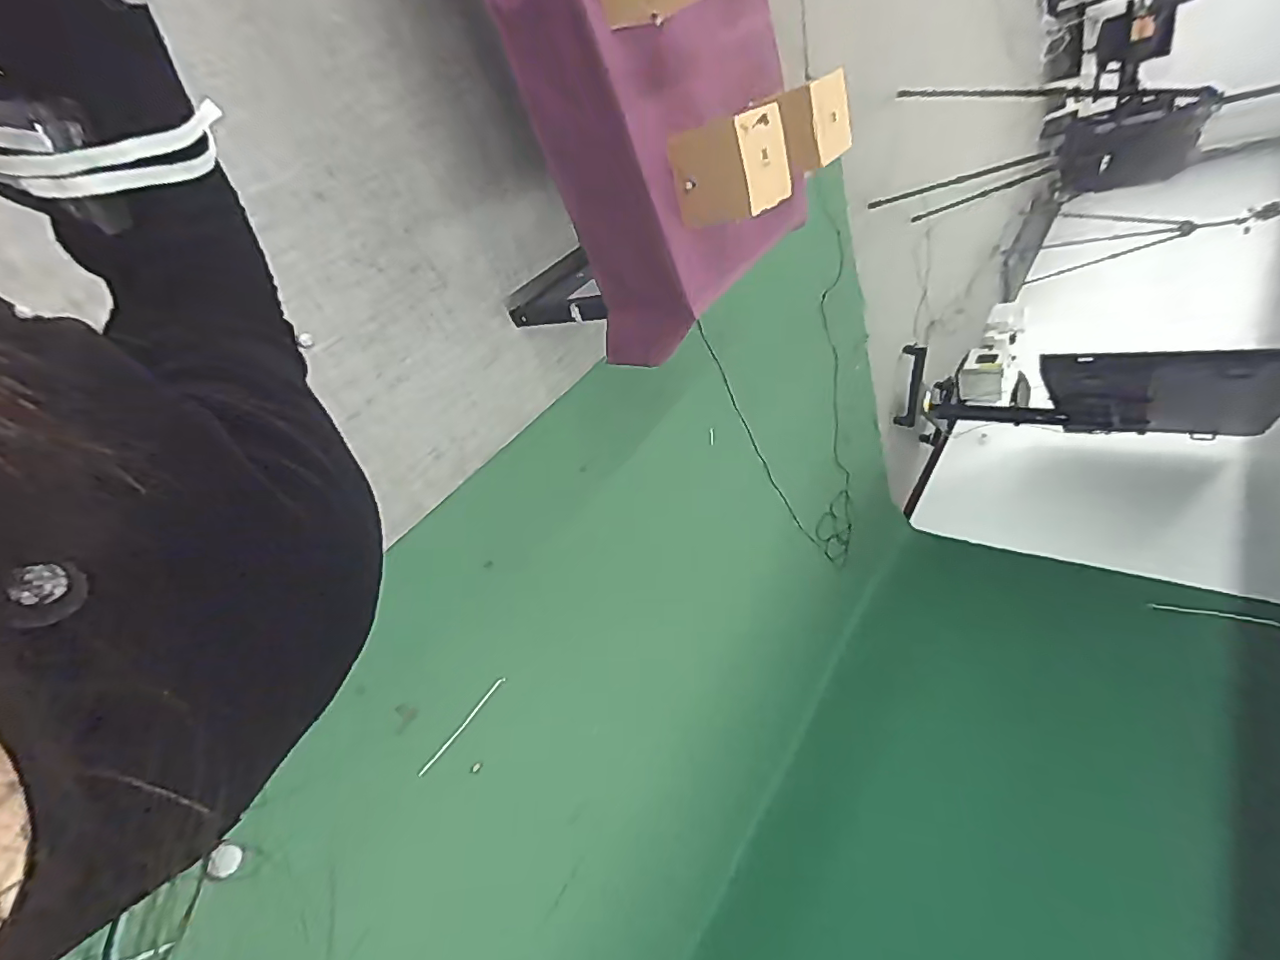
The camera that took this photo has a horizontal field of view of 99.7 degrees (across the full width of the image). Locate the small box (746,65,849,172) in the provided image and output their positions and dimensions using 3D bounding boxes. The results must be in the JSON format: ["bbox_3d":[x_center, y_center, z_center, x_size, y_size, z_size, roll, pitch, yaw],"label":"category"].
[{"bbox_3d":[0.372,-0.845,1.283,0.179,0.176,0.168,-45,127,-31],"label":"small box"}]

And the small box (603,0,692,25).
[{"bbox_3d":[0.028,-0.904,0.899,0.168,0.176,0.179,-43,128,-33],"label":"small box"}]

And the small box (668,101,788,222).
[{"bbox_3d":[0.183,-0.652,1.123,0.168,0.176,0.179,-42,127,-34],"label":"small box"}]
